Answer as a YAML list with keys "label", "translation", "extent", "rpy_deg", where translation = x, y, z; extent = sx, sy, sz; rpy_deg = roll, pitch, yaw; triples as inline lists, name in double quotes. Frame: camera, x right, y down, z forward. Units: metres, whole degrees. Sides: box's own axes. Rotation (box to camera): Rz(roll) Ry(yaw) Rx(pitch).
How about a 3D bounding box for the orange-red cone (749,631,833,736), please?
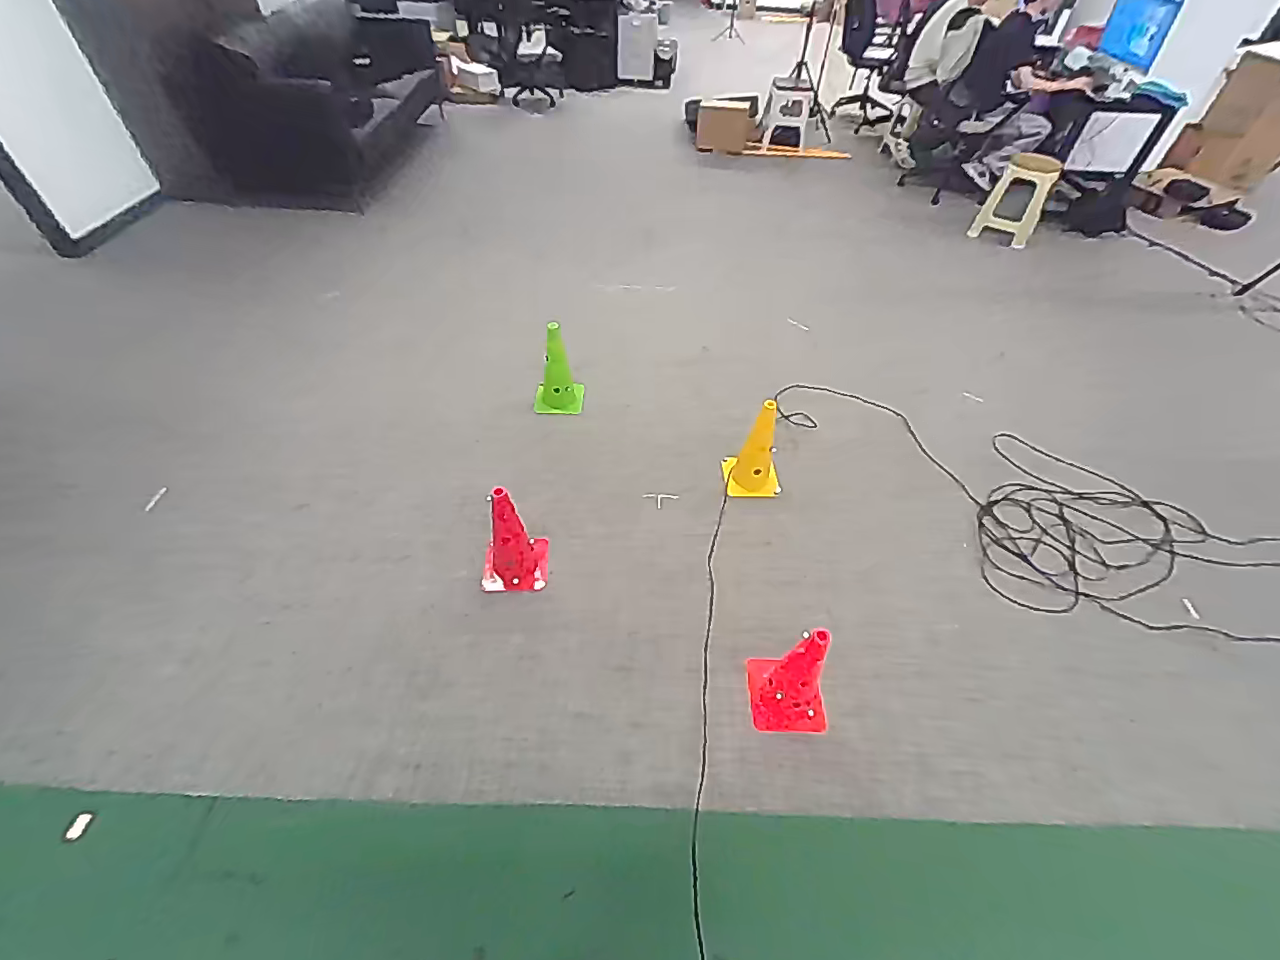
- label: "orange-red cone"
  translation: [0.411, 0.477, 1.359]
  extent: [0.198, 0.360, 0.199]
  rpy_deg: [3, 46, -1]

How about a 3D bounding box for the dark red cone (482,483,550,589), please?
- label: "dark red cone"
  translation: [-0.385, 0.149, 1.596]
  extent: [0.202, 0.394, 0.201]
  rpy_deg: [-2, 49, -4]

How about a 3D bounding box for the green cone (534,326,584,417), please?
- label: "green cone"
  translation: [-0.335, -0.455, 2.188]
  extent: [0.202, 0.368, 0.200]
  rpy_deg: [2, 48, -2]
